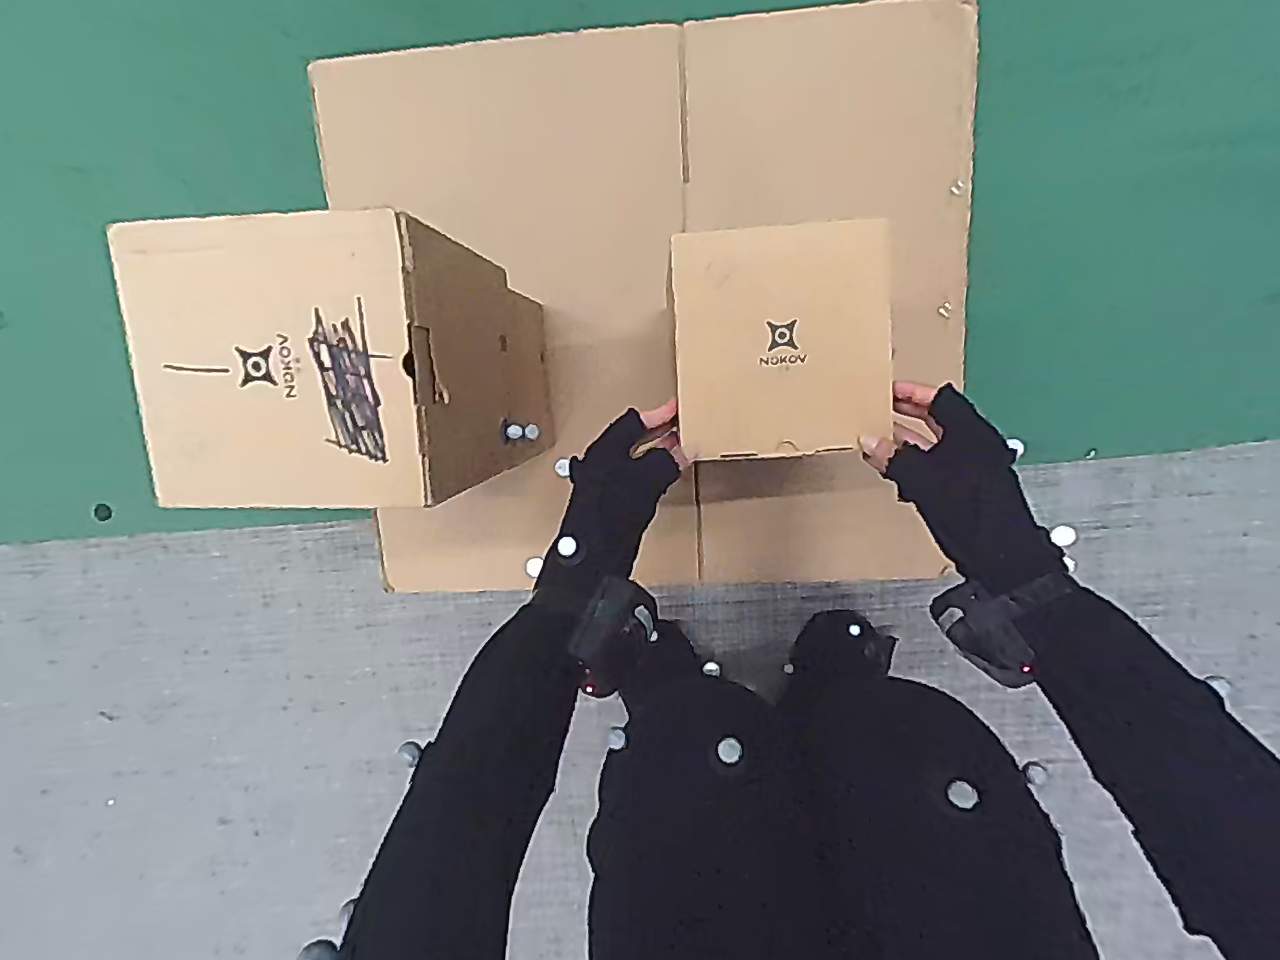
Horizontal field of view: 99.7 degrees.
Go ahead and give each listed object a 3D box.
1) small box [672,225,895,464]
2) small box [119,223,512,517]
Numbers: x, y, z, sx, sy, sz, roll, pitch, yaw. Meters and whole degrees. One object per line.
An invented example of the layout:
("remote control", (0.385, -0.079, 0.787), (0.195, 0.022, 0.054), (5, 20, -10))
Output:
("small box", (0.116, -0.109, 0.497), (0.168, 0.176, 0.179), (-4, 95, 4))
("small box", (-0.198, -0.074, 0.388), (0.179, 0.176, 0.168), (0, 100, 6))
